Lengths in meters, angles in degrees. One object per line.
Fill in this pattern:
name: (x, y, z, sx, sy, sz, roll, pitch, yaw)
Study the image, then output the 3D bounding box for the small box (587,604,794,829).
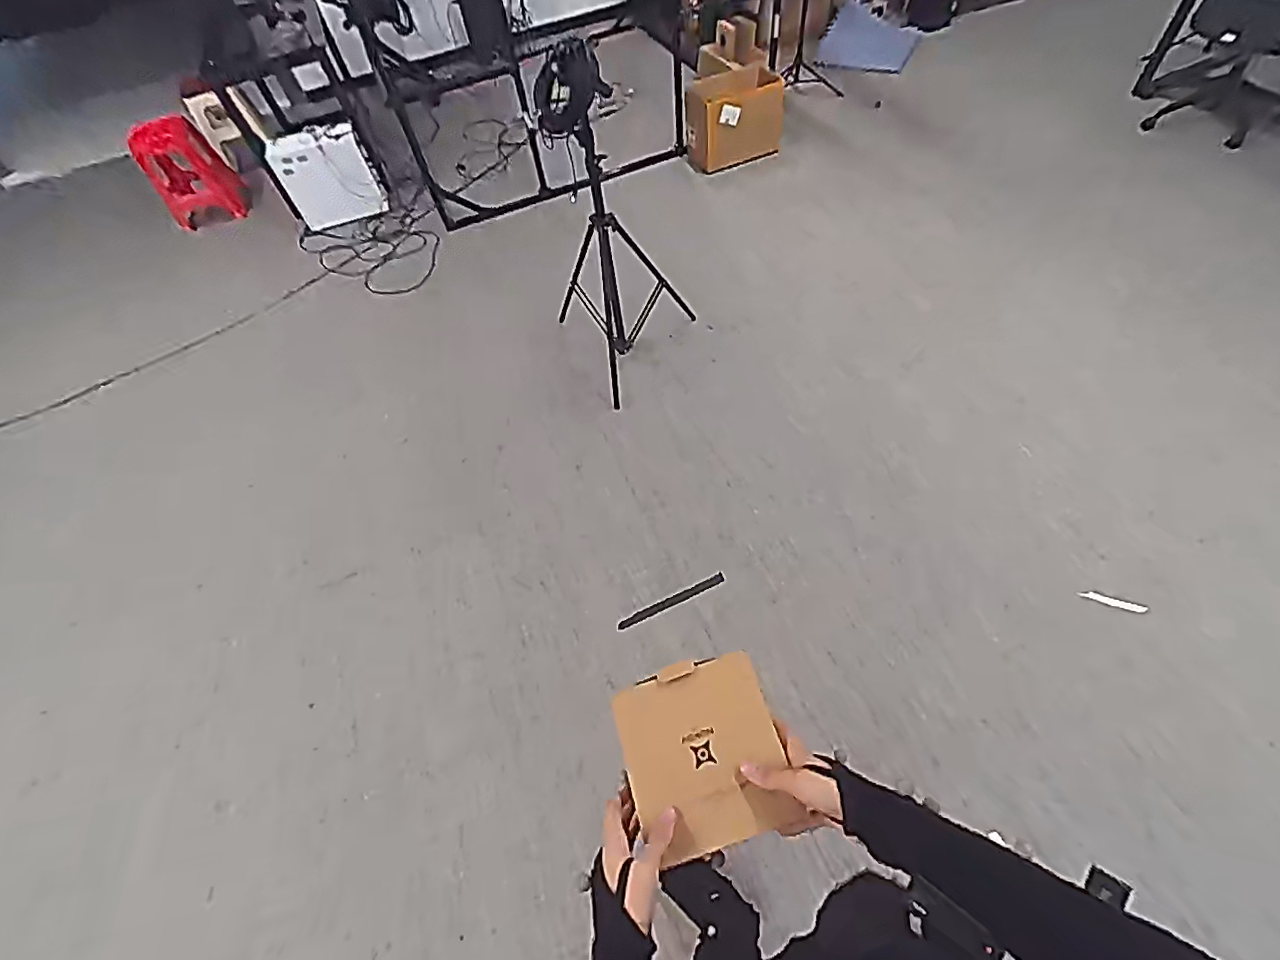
small box: (0.049, 0.268, 0.604, 0.168, 0.176, 0.179, -17, 57, -4)
